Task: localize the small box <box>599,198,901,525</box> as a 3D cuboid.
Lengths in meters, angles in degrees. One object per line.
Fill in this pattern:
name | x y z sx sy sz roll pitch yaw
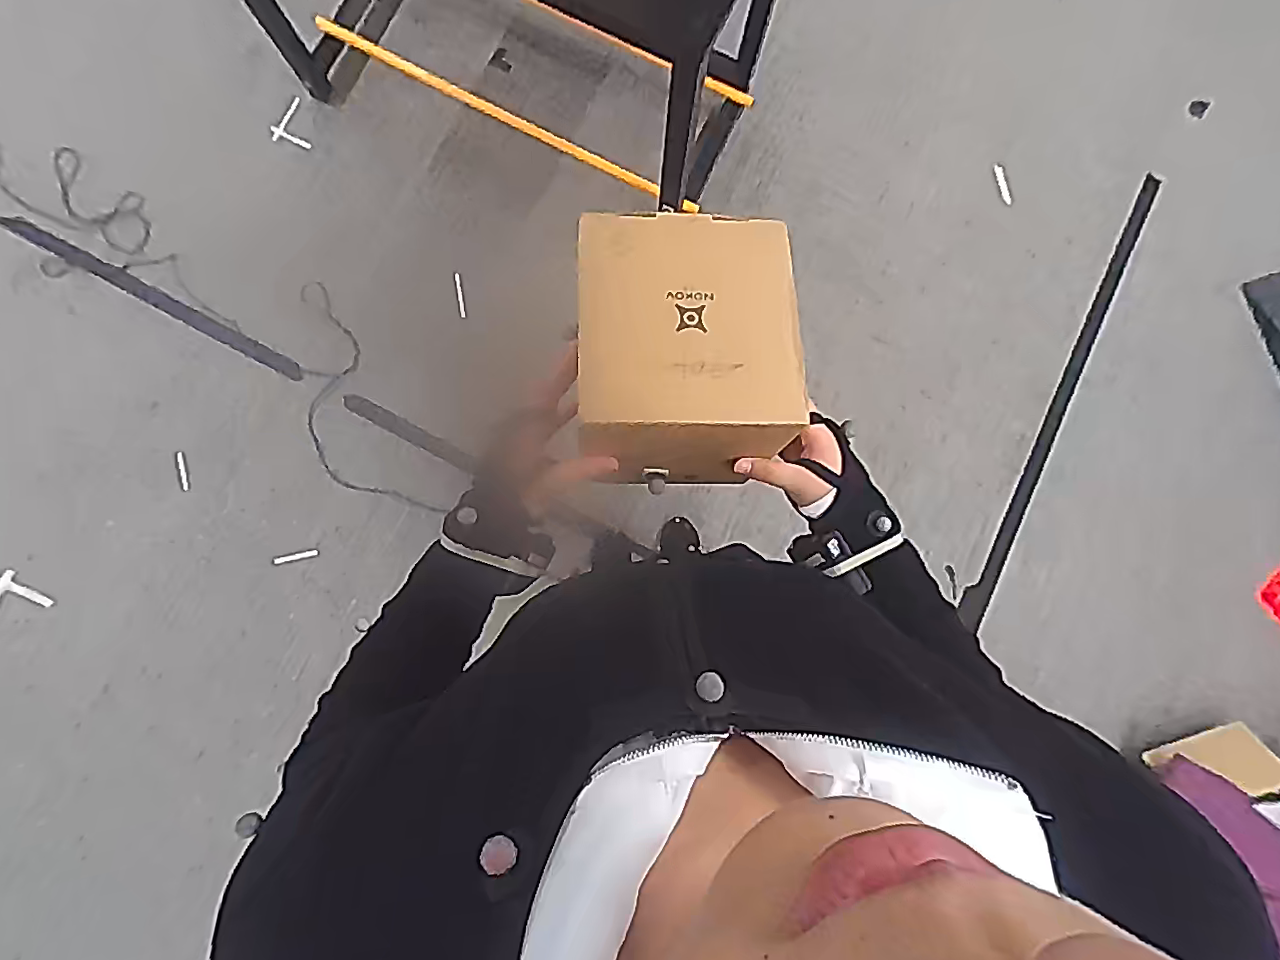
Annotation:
small box | 0.055 -0.069 0.394 0.168 0.176 0.179 -1 75 -6
